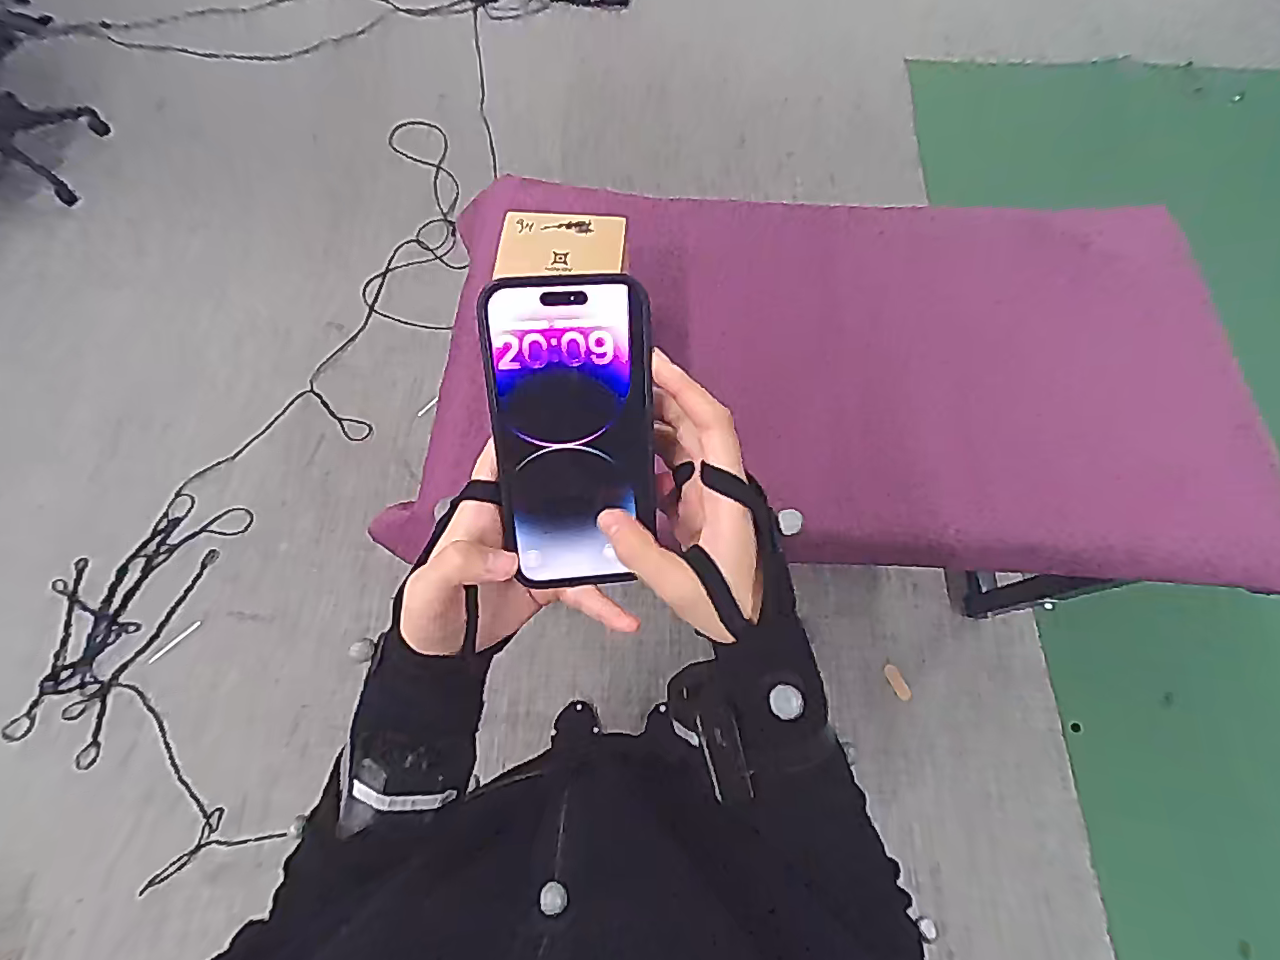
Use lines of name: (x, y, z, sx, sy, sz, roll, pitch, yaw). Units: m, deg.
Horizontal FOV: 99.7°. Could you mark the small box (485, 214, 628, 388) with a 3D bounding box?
small box: (-0.107, -0.249, 0.780, 0.168, 0.176, 0.179, 4, 69, 2)
